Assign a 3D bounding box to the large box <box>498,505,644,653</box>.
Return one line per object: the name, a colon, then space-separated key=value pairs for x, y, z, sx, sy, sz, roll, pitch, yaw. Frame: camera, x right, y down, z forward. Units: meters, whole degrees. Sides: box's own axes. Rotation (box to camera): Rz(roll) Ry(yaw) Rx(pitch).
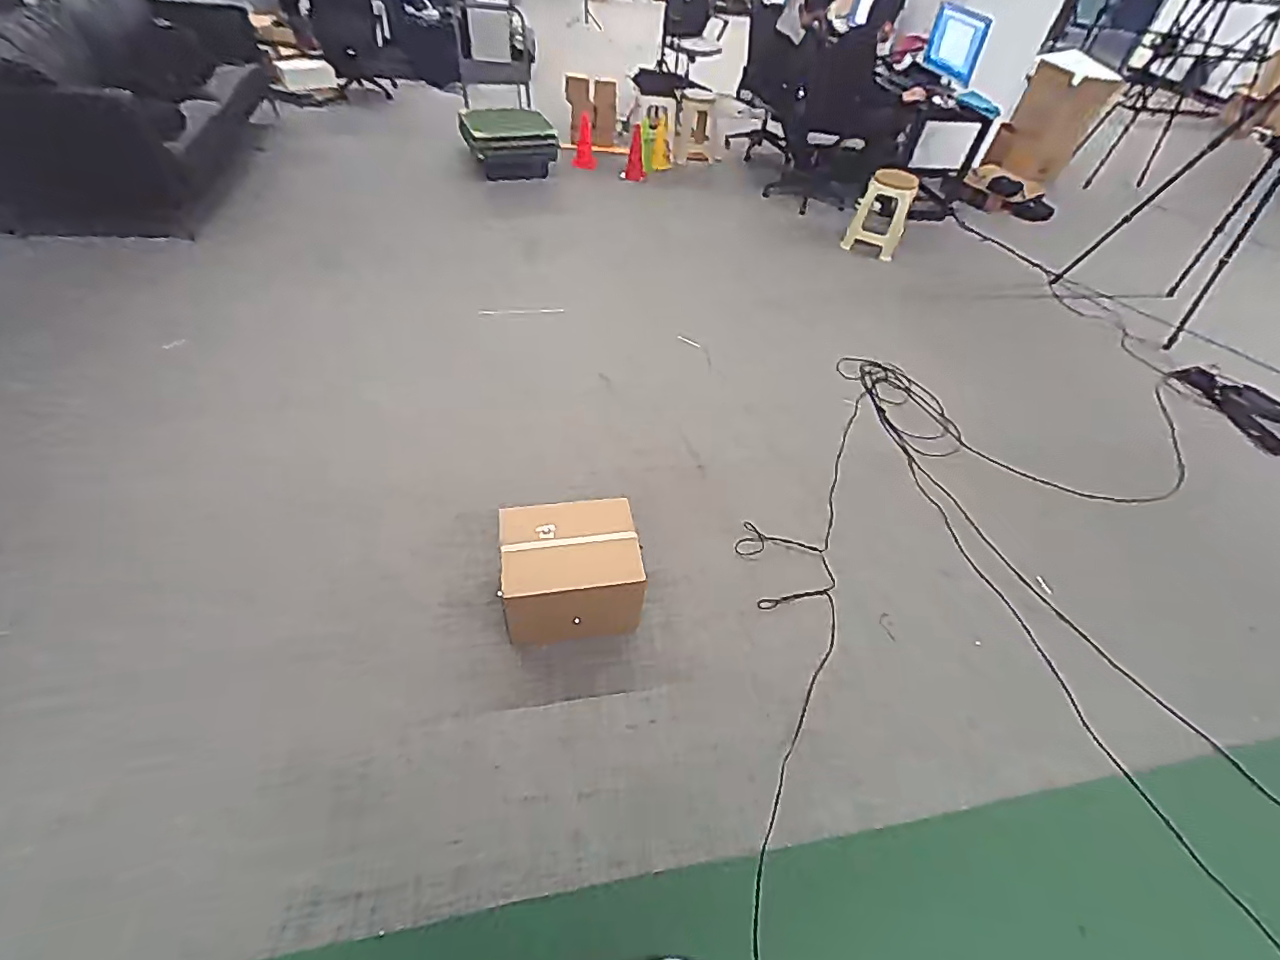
large box: x=-0.222 y=0.313 z=1.714 sx=0.408 sy=0.320 sz=0.320 roll=-6 pitch=48 yaw=-11
